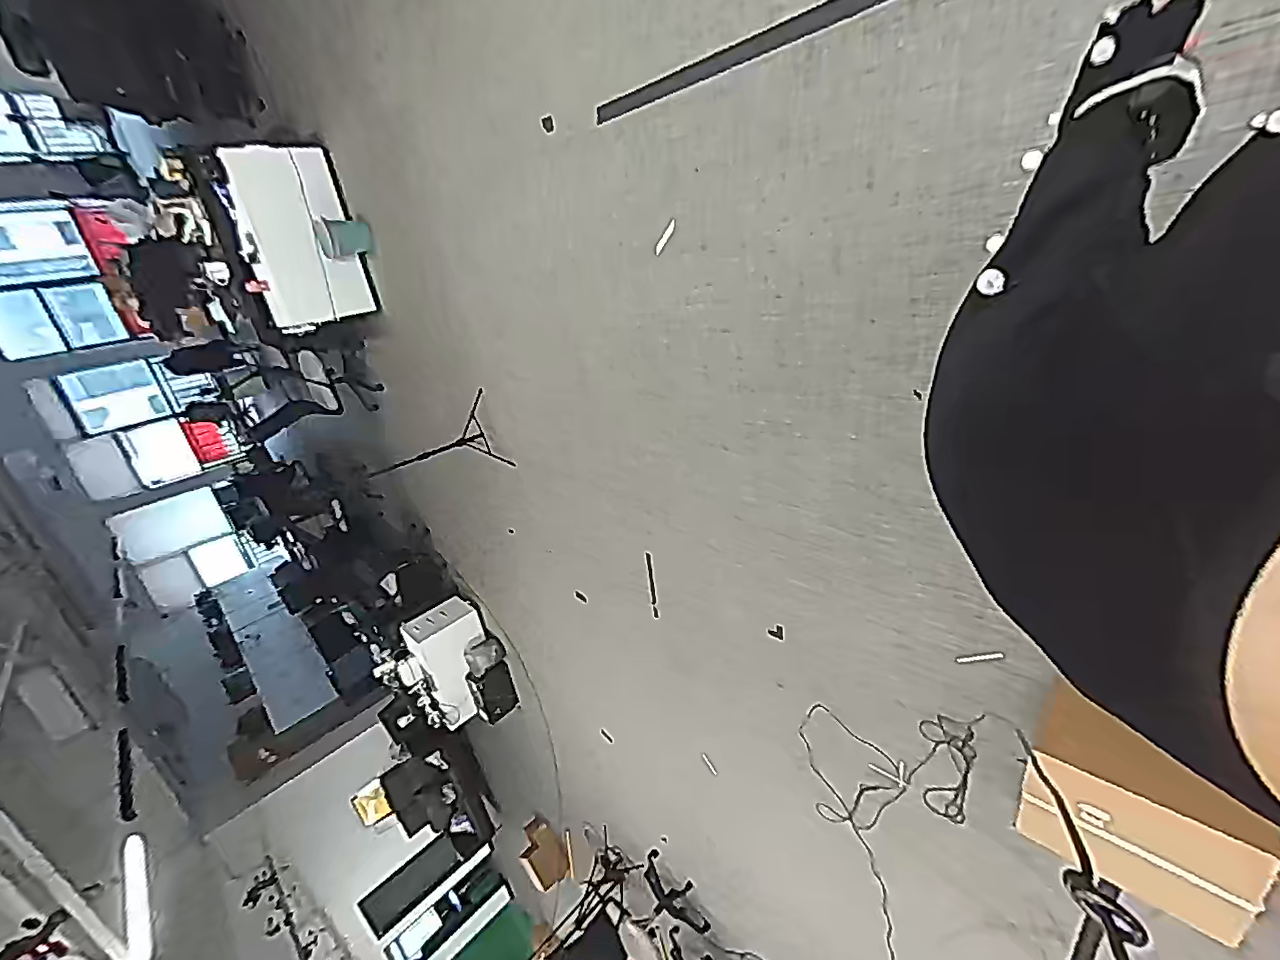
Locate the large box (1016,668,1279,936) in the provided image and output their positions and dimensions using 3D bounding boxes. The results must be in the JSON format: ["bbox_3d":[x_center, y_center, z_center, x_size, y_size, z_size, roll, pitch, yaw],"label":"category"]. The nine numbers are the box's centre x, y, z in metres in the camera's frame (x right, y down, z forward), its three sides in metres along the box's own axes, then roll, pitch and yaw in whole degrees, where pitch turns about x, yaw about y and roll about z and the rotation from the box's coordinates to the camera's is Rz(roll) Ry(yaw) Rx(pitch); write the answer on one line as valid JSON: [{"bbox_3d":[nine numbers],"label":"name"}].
[{"bbox_3d":[1.201,0.735,1.302,0.408,0.320,0.320,16,124,44],"label":"large box"}]
